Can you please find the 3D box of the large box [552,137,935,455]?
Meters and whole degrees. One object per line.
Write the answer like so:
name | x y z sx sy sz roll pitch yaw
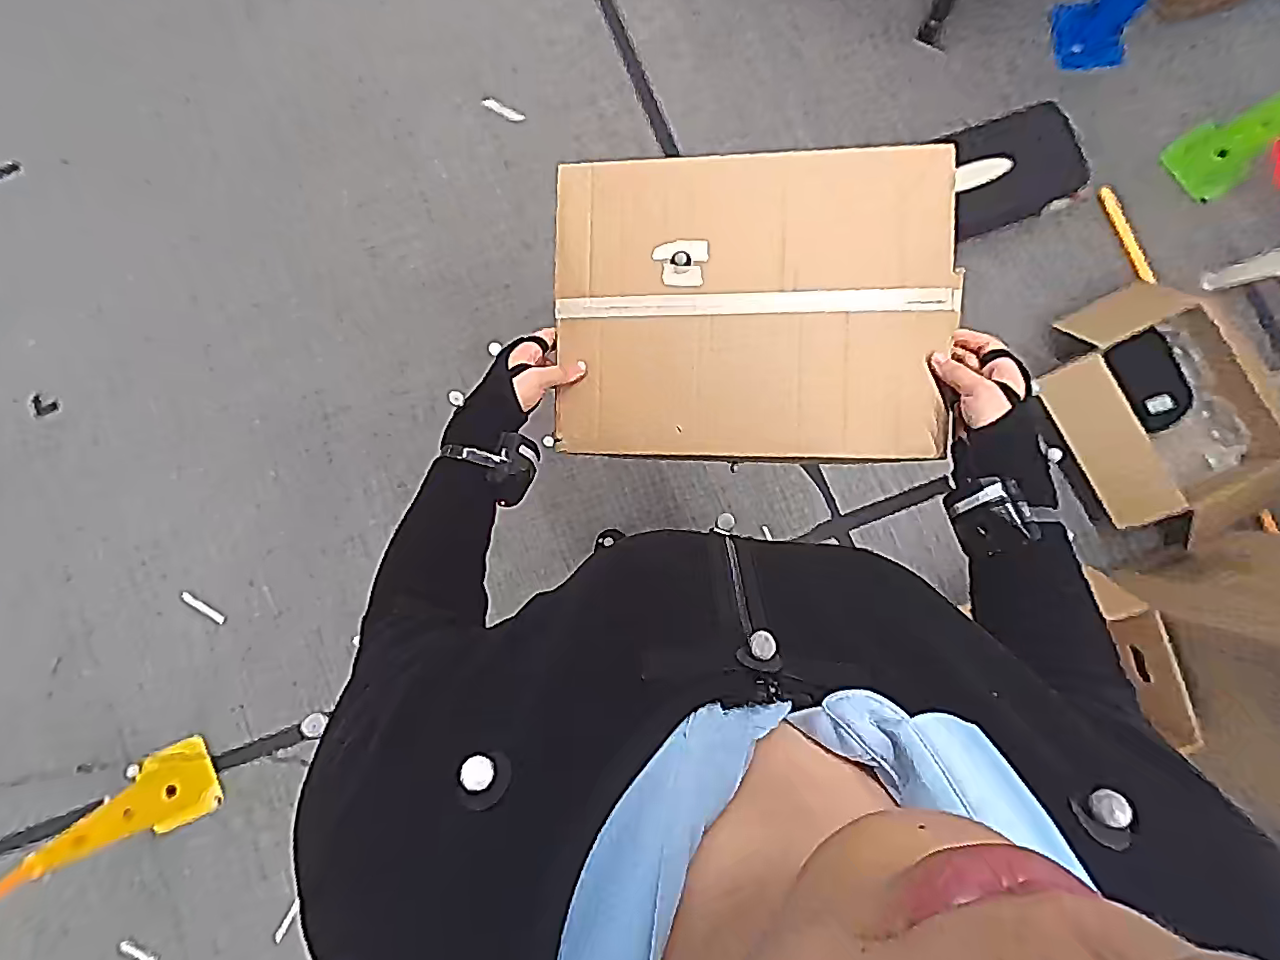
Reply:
large box | 0.124 -0.192 0.717 0.408 0.320 0.320 0 90 9
